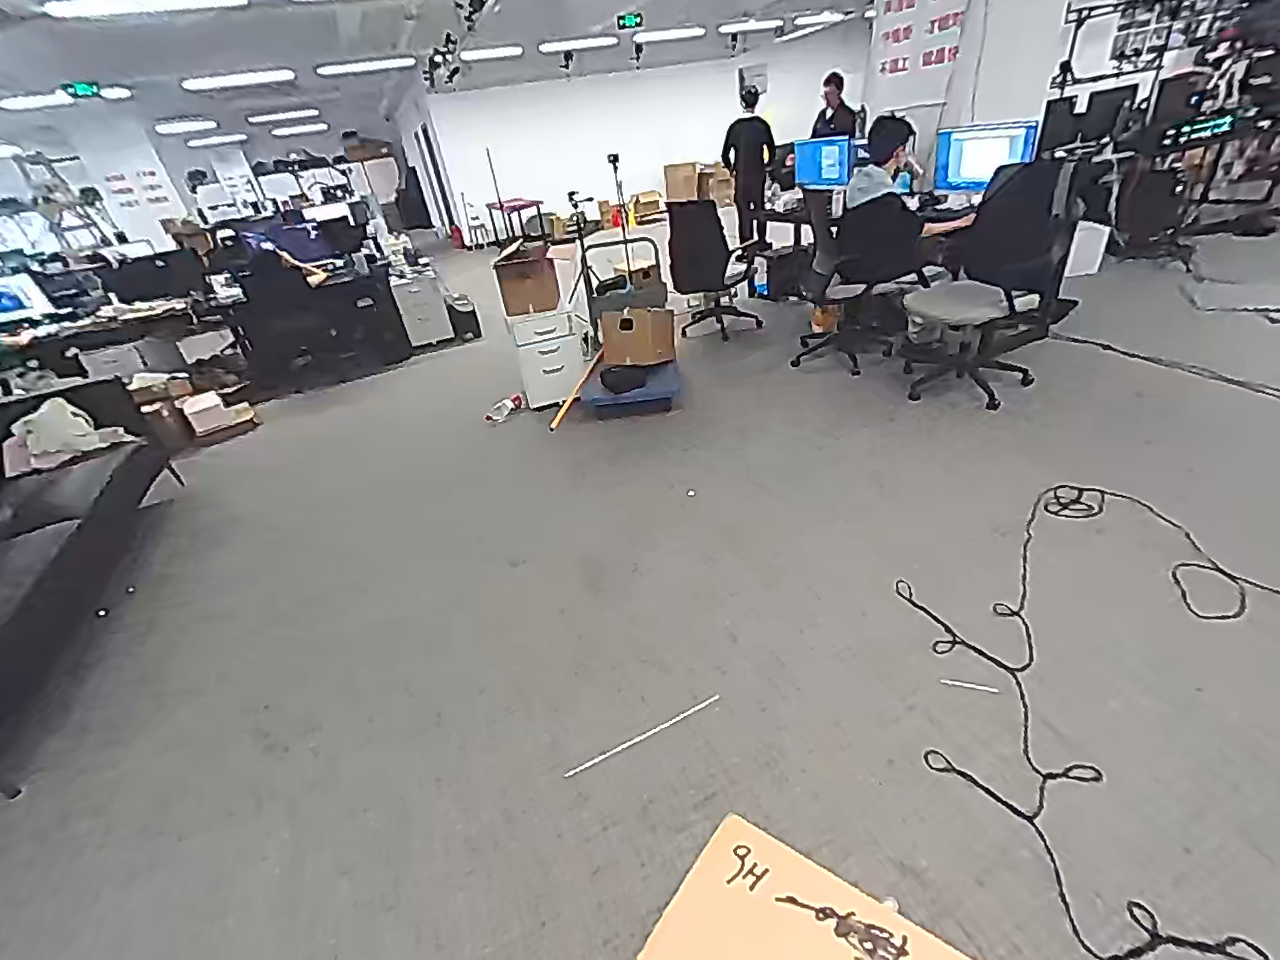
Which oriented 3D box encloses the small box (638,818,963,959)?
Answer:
[{"bbox_3d":[0.087,0.350,0.299,0.168,0.176,0.179,8,35,41],"label":"small box"}]
